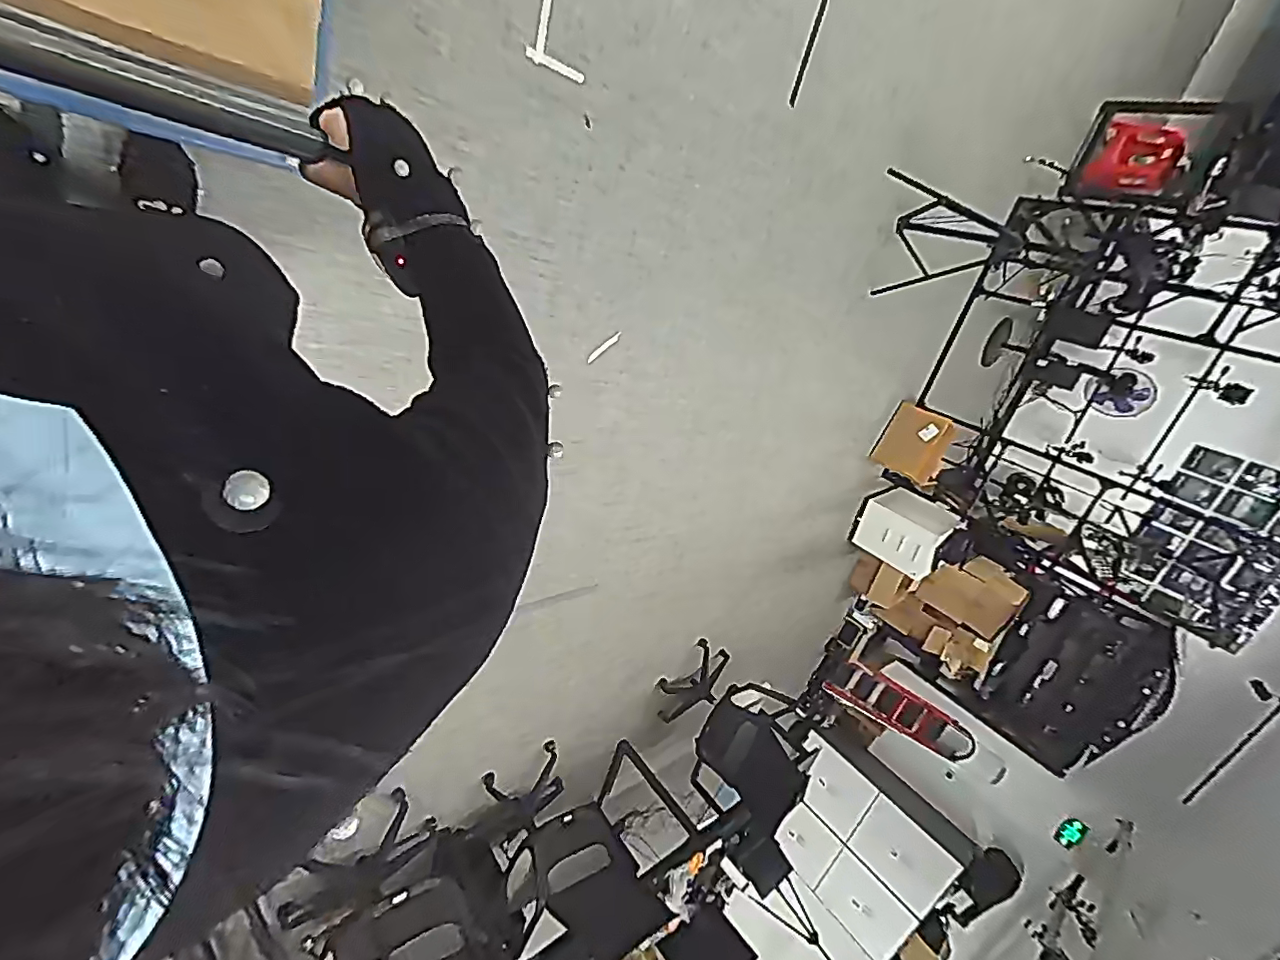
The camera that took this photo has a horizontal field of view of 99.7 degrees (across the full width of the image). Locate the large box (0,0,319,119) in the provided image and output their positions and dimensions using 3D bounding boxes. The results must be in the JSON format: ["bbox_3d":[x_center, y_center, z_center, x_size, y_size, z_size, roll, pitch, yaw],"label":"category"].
[{"bbox_3d":[-0.656,-0.689,0.657,0.408,0.320,0.320,-5,121,-44],"label":"large box"}]
